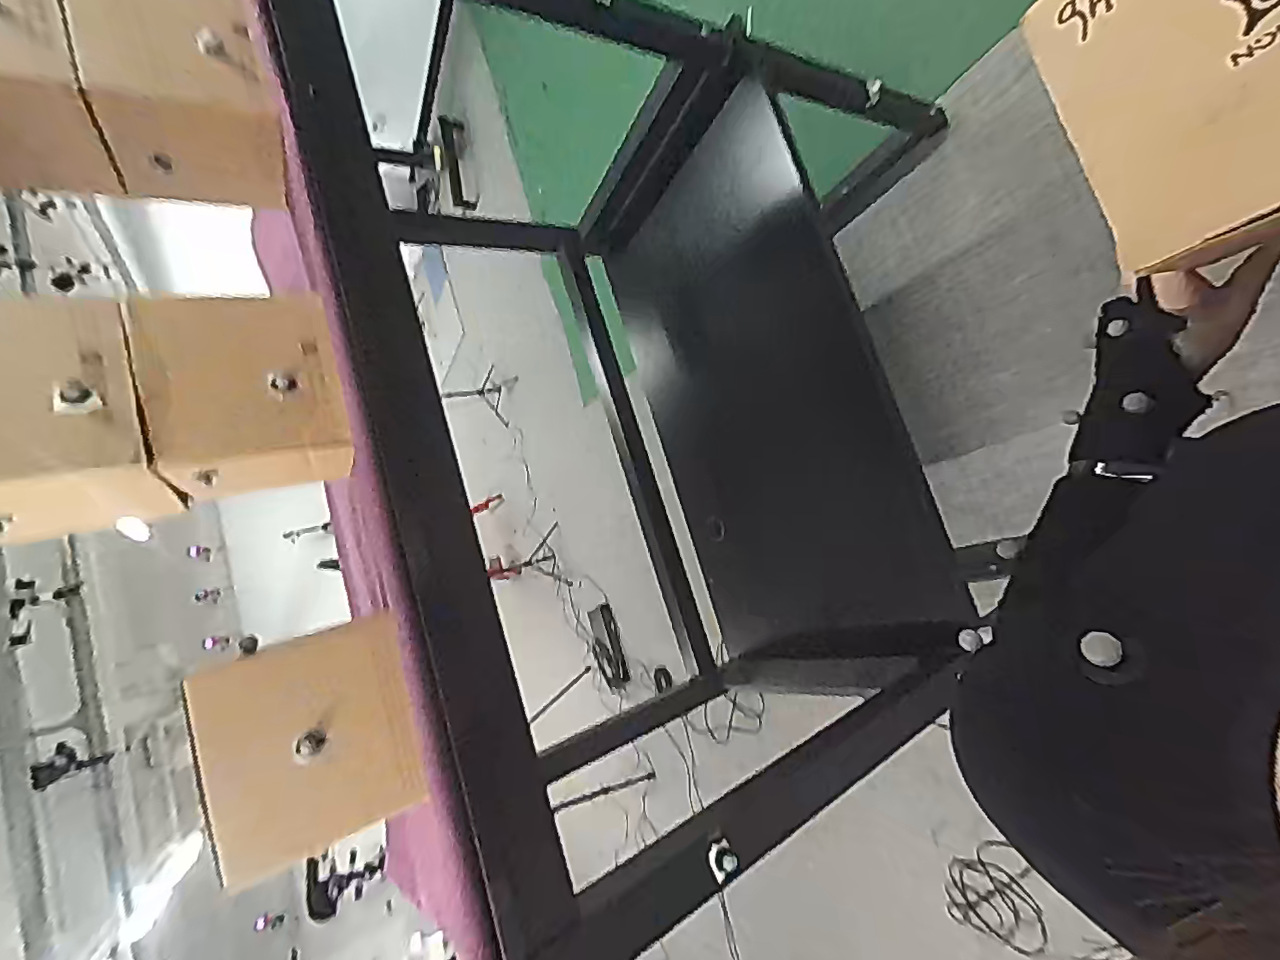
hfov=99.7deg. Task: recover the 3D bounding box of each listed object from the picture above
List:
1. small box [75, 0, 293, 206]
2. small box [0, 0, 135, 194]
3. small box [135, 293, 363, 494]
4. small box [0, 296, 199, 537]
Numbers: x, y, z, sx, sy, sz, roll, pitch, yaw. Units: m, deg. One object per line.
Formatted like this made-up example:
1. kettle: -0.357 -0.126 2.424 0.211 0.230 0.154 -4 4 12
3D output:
1. small box: -0.530 -0.457 0.650 0.179 0.176 0.168 -21 83 57
2. small box: -0.667 -0.426 0.563 0.179 0.176 0.168 -21 84 57
3. small box: -0.417 -0.091 0.604 0.179 0.176 0.168 -23 81 58
4. small box: -0.548 -0.056 0.515 0.179 0.176 0.168 -32 75 56
